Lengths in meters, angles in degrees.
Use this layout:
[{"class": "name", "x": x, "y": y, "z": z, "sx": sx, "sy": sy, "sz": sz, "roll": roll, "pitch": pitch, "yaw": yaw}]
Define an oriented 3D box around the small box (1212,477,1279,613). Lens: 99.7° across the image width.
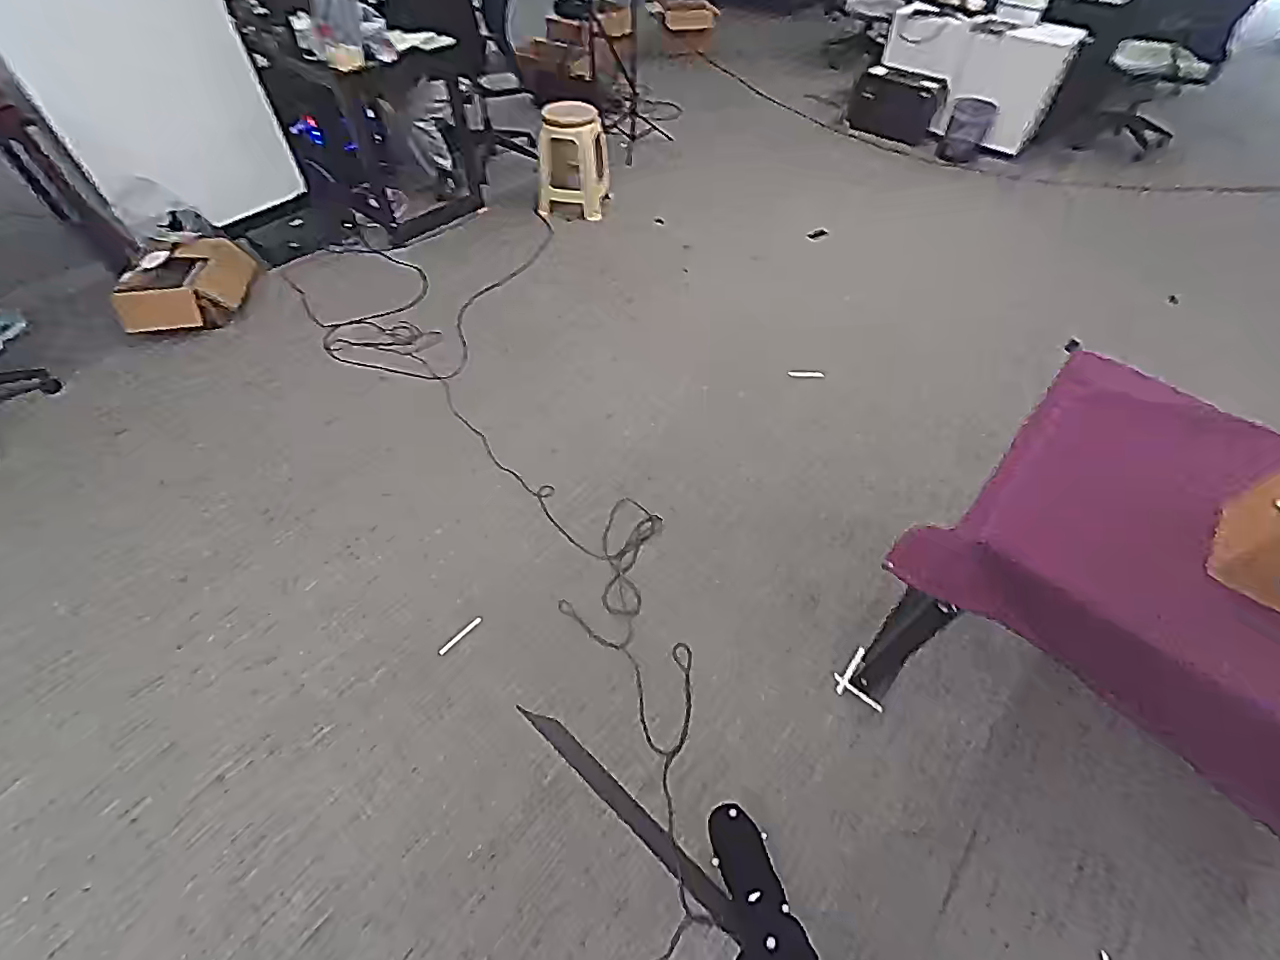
[{"class": "small box", "x": 0.991, "y": 0.091, "z": 0.776, "sx": 0.168, "sy": 0.176, "sz": 0.179, "roll": 35, "pitch": 60, "yaw": 23}]
